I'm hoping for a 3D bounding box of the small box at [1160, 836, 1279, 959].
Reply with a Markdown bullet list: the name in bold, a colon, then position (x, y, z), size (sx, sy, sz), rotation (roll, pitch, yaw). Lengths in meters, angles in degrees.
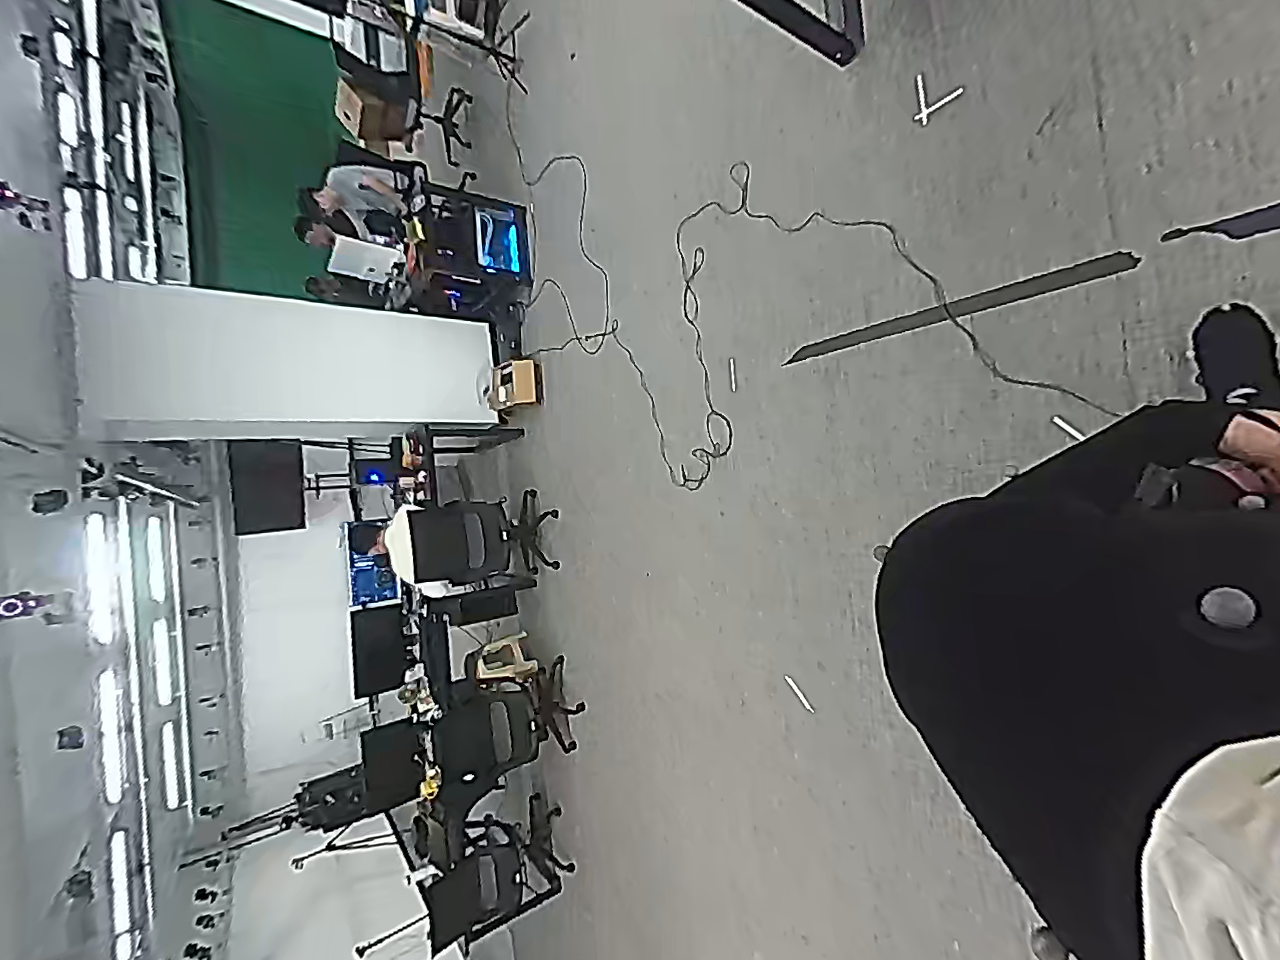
- **small box**: position (1.199, 0.852, 1.084), size (0.179, 0.176, 0.168), rotation (-17, 79, 56)
